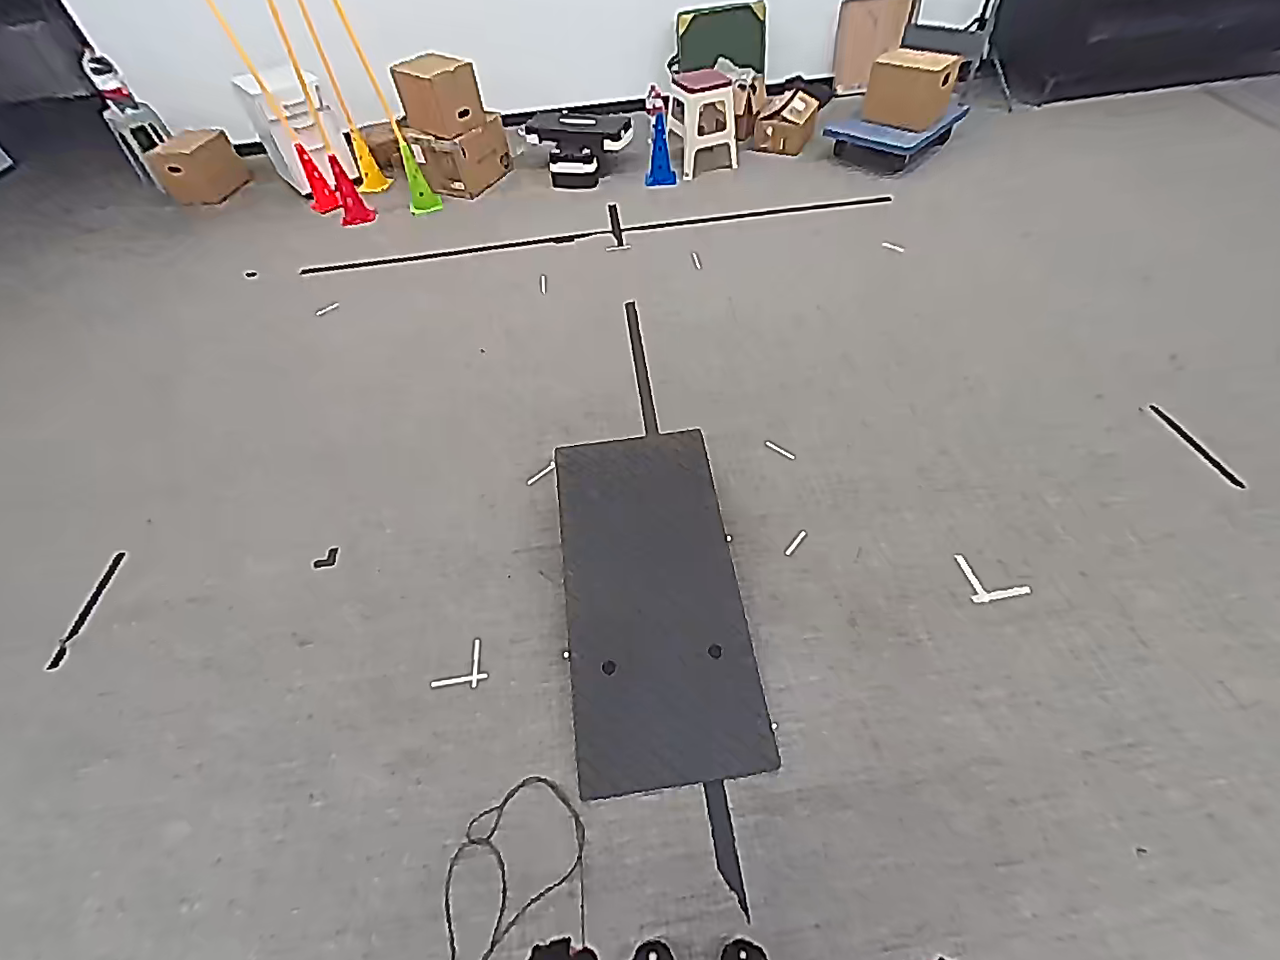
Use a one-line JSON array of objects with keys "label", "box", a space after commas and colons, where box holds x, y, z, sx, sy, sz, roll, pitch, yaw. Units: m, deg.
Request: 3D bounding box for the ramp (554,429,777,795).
[{"label": "ramp", "box": [0.030, 0.294, 1.547, 0.509, 0.206, 0.991, -9, 51, -4]}]
